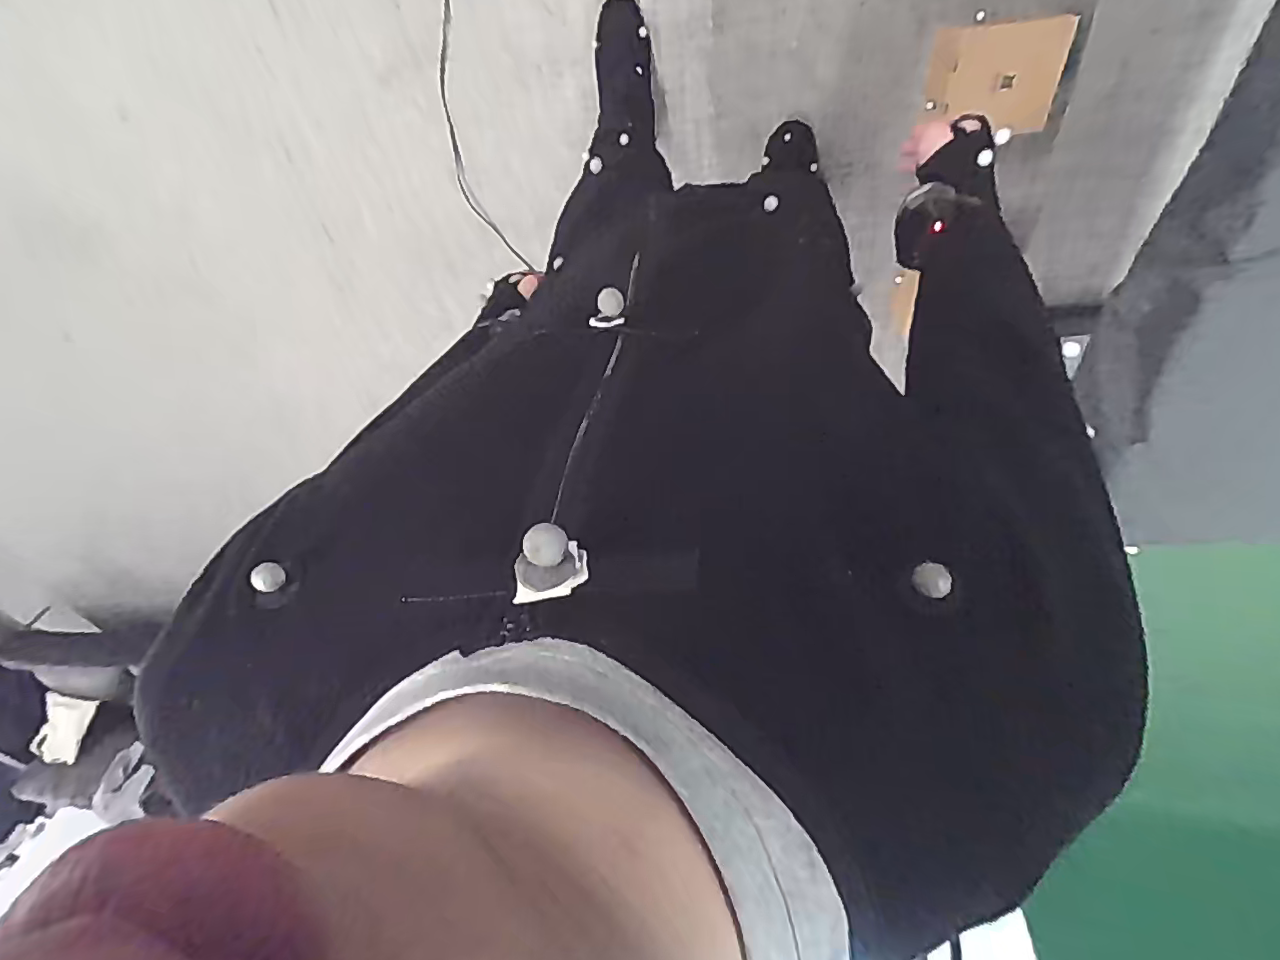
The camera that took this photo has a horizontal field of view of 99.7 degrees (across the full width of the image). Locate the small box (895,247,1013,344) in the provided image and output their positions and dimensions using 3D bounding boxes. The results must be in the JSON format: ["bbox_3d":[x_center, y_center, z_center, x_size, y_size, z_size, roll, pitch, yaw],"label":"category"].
[{"bbox_3d":[0.715,-0.431,1.255,0.179,0.176,0.168,5,132,10],"label":"small box"}]

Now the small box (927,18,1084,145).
[{"bbox_3d":[0.655,-0.737,1.000,0.179,0.176,0.168,0,133,10],"label":"small box"}]
